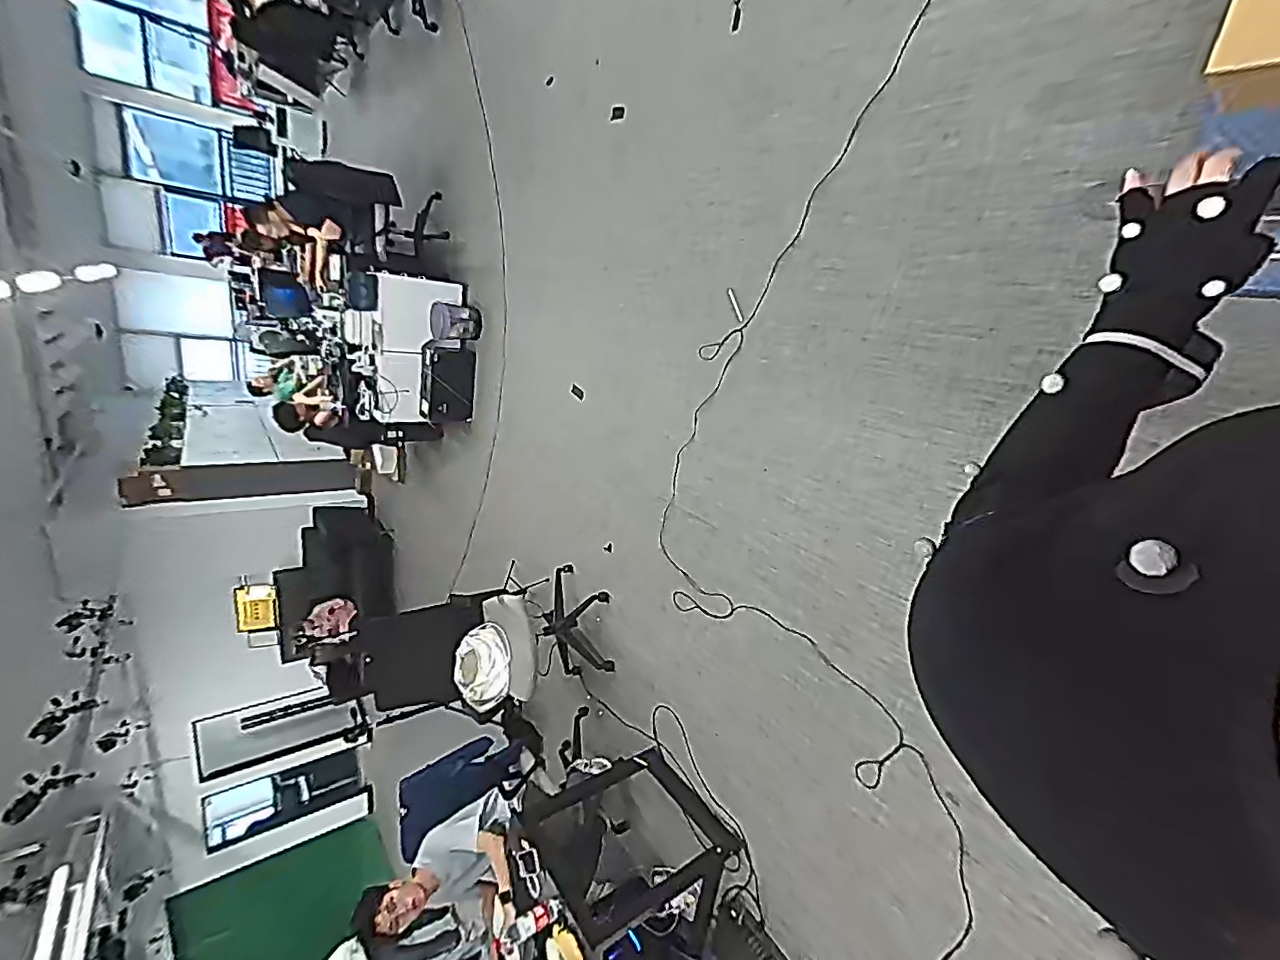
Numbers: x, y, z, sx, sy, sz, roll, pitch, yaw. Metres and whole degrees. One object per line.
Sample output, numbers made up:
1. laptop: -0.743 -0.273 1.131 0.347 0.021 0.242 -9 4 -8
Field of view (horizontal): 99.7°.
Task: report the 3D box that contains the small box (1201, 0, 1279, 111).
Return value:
1. small box: 0.966 -0.659 0.775 0.179 0.176 0.168 27 115 45
